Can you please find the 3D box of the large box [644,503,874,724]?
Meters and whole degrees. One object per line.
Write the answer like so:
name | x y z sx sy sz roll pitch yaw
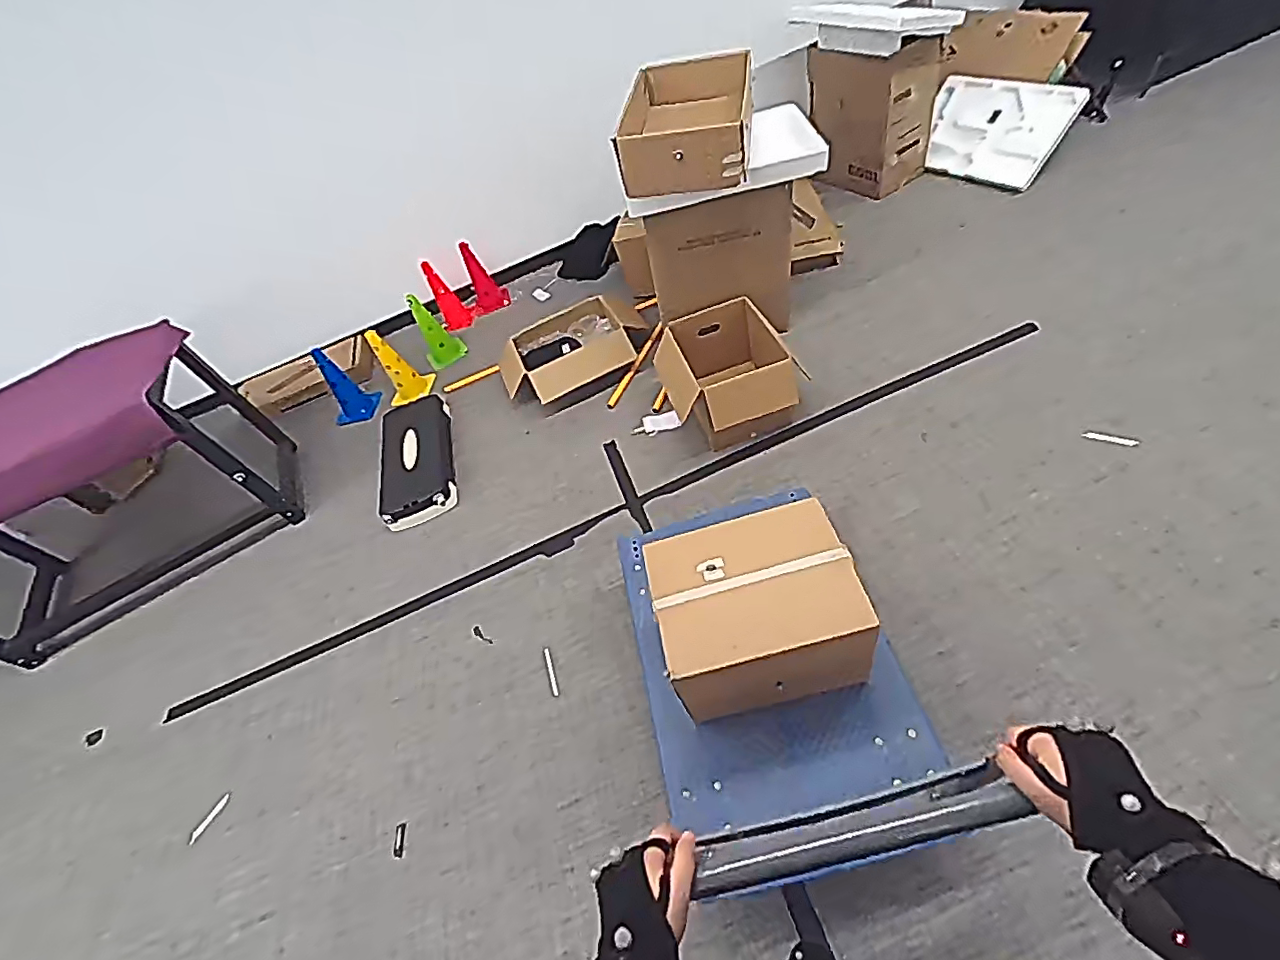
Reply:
large box | 0.260 0.311 1.226 0.408 0.320 0.320 -17 48 5
